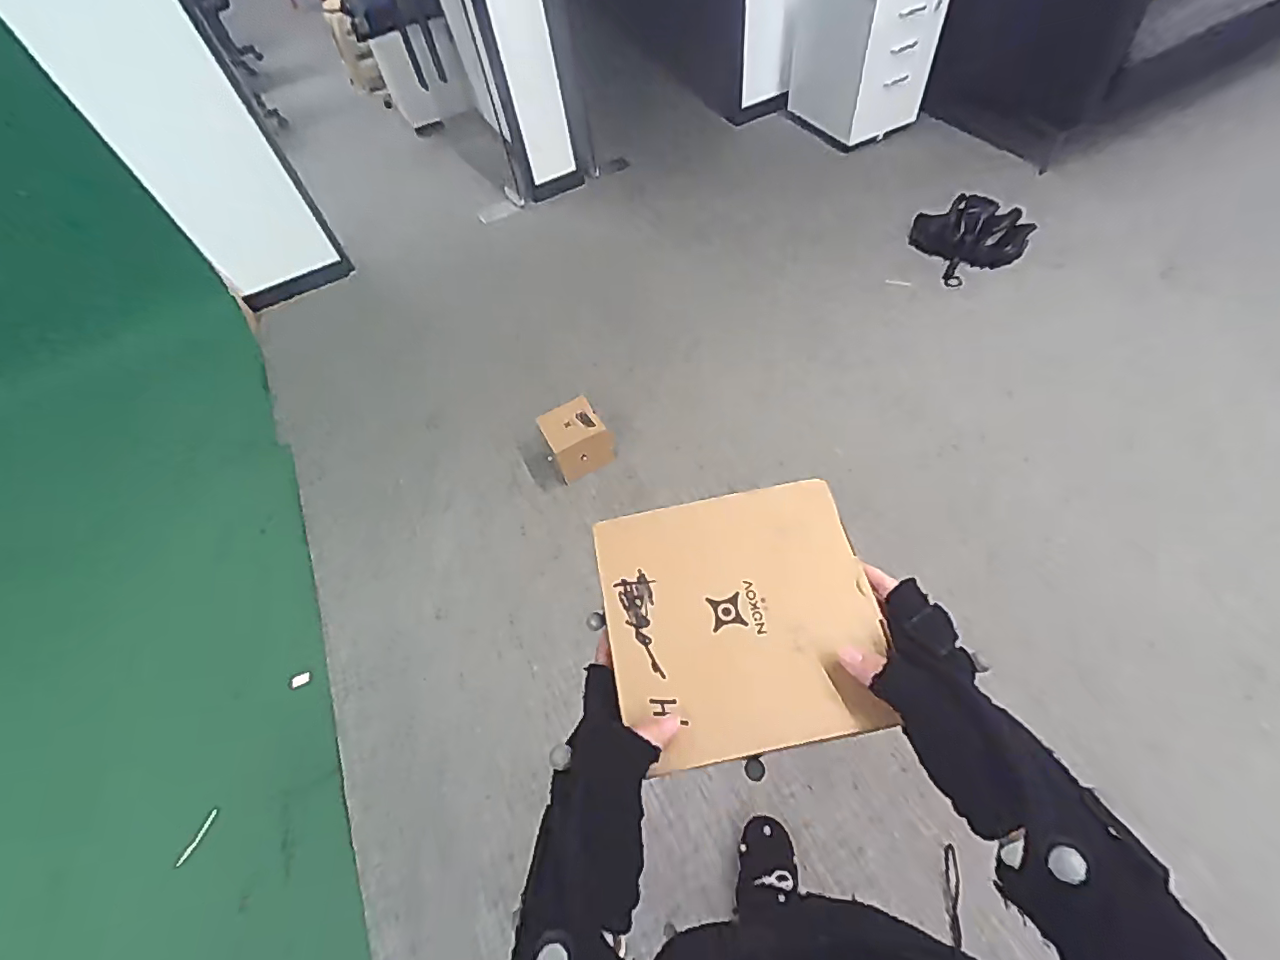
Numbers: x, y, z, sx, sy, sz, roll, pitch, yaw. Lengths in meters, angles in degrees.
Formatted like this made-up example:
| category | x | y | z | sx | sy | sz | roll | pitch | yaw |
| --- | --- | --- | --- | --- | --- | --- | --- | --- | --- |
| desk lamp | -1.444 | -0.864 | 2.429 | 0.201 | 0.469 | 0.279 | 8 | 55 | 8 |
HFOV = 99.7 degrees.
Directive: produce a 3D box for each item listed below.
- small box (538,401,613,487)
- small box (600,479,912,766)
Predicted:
| category | x | y | z | sx | sy | sz | roll | pitch | yaw |
| --- | --- | --- | --- | --- | --- | --- | --- | --- | --- |
| small box | -0.198 | -0.112 | 1.722 | 0.179 | 0.176 | 0.168 | -28 | 57 | -10 |
| small box | 0.070 | 0.120 | 0.427 | 0.179 | 0.176 | 0.168 | -10 | 61 | -3 |
